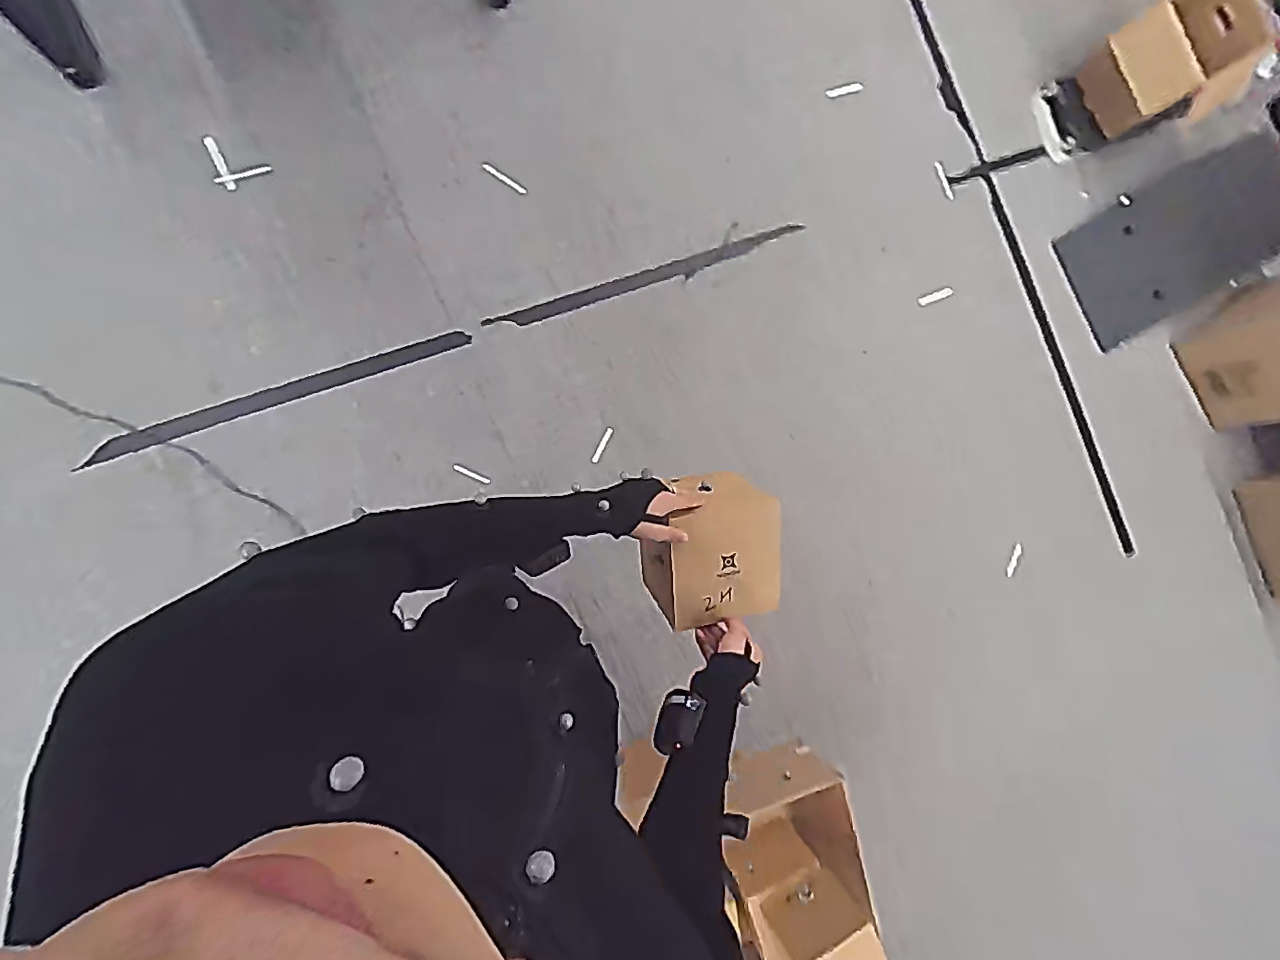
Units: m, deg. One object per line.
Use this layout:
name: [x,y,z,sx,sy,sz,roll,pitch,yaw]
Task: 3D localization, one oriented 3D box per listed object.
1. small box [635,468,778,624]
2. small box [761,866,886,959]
small box: [0.094,0.087,0.822,0.168,0.176,0.179,-10,109,-13]
small box: [0.365,0.920,1.060,0.168,0.176,0.179,-23,94,-12]
